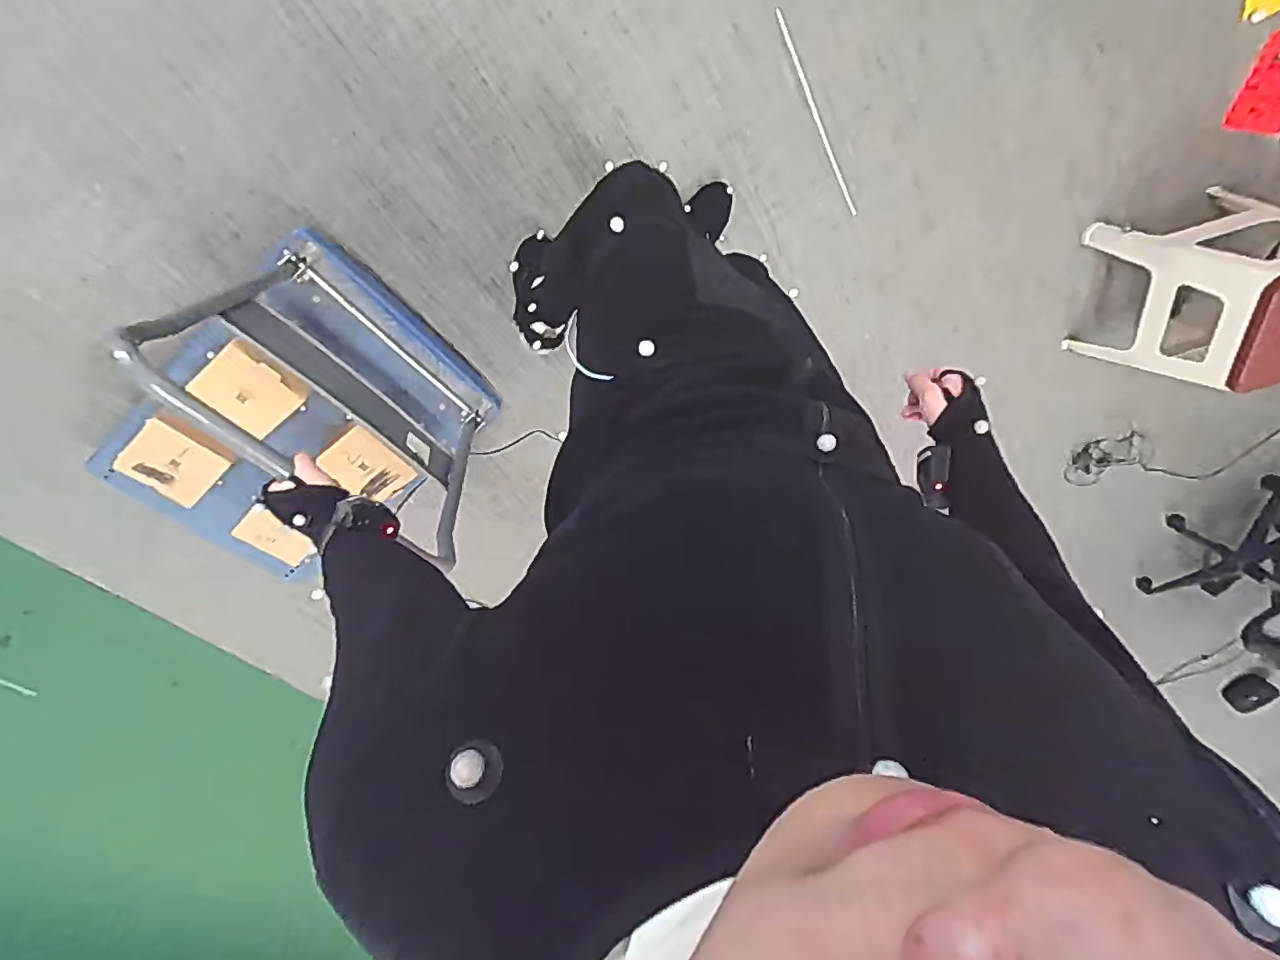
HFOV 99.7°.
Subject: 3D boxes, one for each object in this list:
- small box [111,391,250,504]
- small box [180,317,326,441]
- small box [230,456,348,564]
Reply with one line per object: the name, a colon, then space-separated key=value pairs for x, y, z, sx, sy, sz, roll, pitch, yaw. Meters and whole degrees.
small box: x=-1.030 y=-0.086 z=1.239 sx=0.179 sy=0.176 sz=0.168 roll=-38 pitch=122 yaw=14
small box: x=-0.831 y=-0.225 z=1.184 sx=0.179 sy=0.176 sz=0.168 roll=-35 pitch=122 yaw=13
small box: x=-0.874 y=0.070 z=1.369 sx=0.179 sy=0.176 sz=0.168 roll=-39 pitch=120 yaw=16
